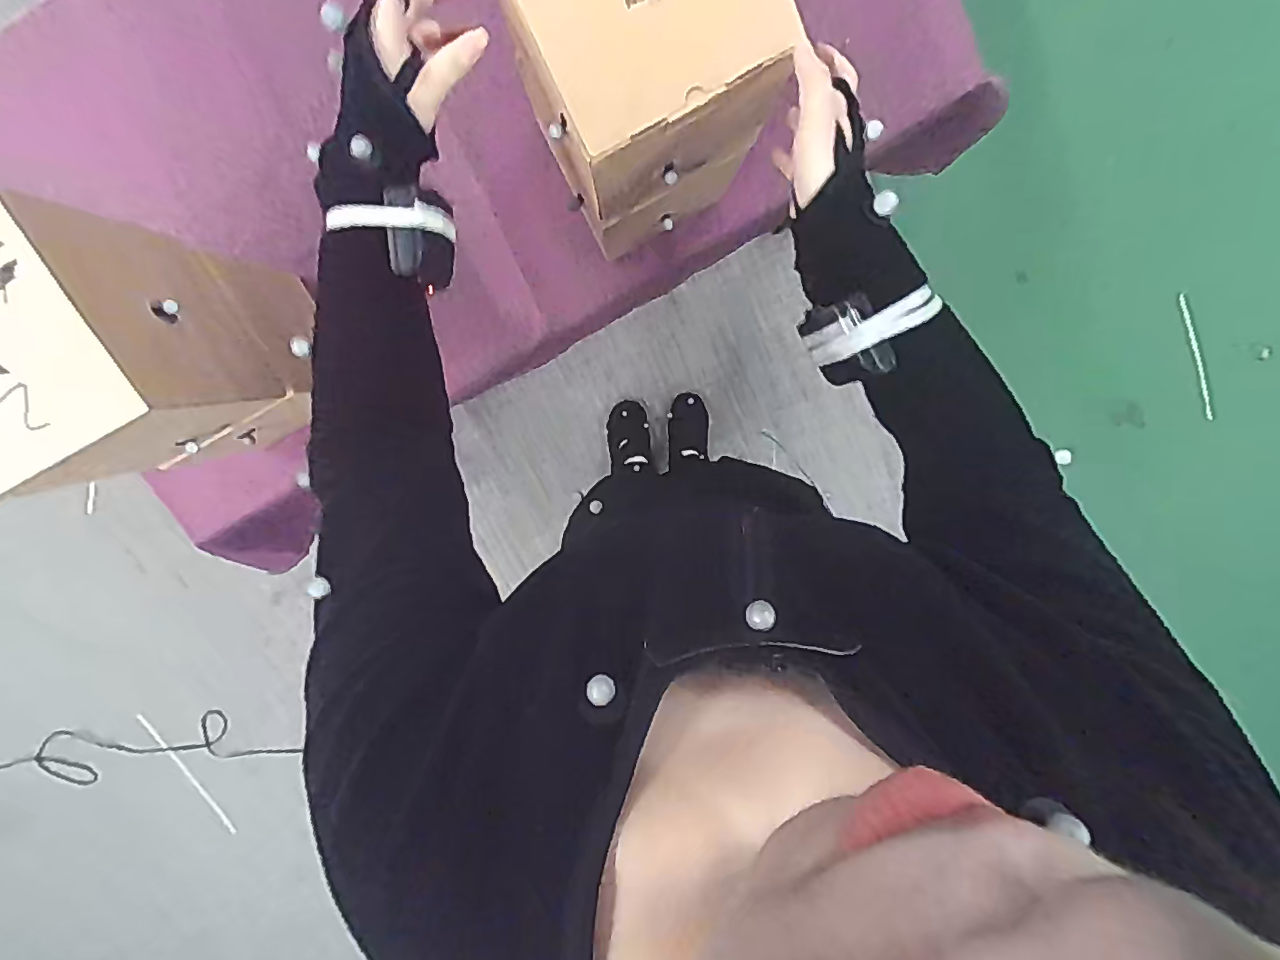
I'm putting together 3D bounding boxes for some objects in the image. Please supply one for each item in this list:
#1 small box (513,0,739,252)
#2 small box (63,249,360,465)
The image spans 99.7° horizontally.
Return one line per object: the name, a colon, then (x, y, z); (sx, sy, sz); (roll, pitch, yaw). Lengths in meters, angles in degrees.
small box: (-0.011, -0.373, 0.595); (0.168, 0.176, 0.179); (-27, 101, 4)
small box: (-0.477, -0.137, 0.635); (0.179, 0.176, 0.168); (-28, 101, 4)
